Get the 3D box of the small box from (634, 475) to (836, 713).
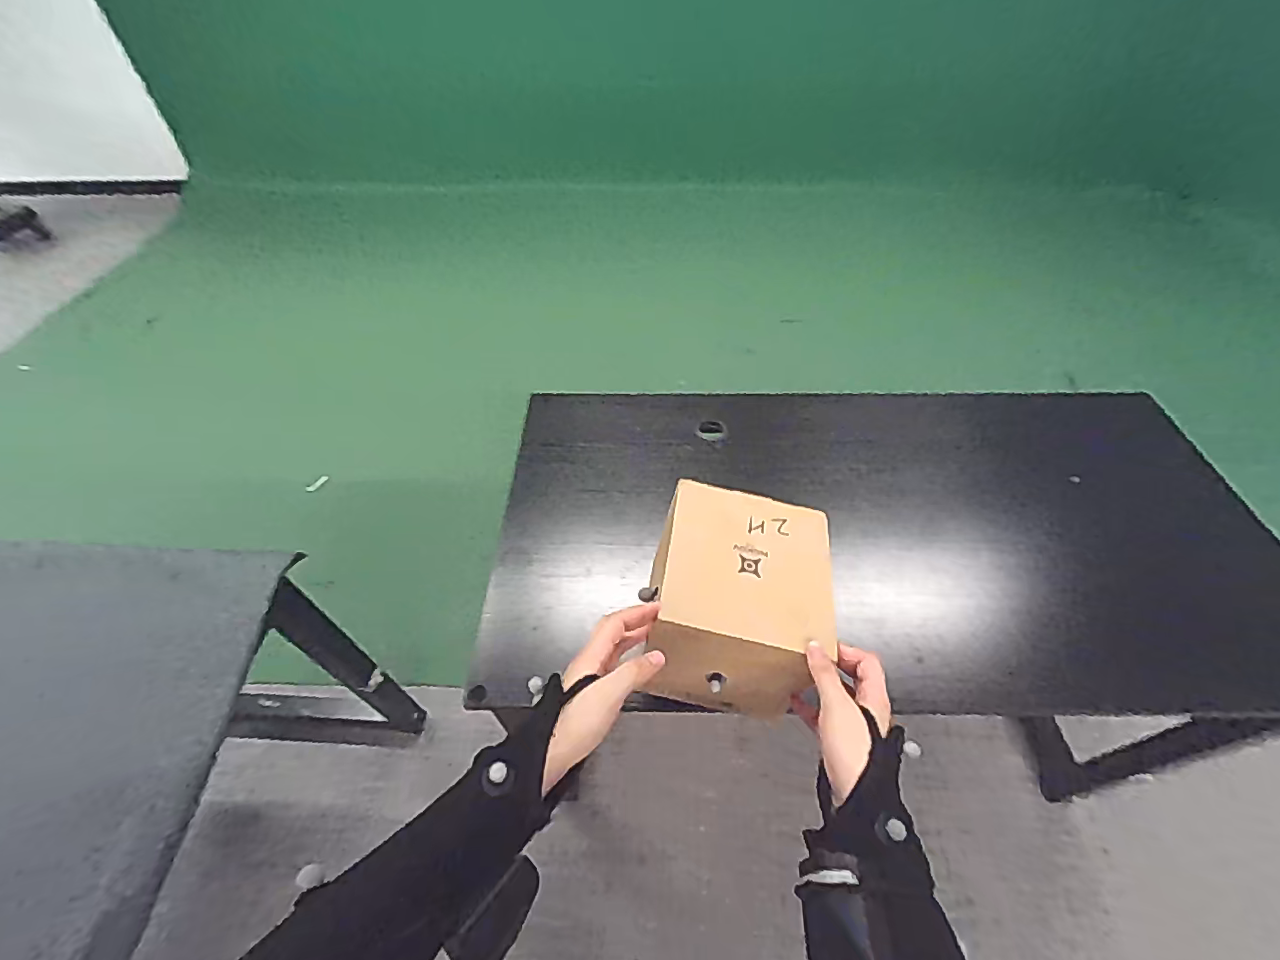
[{"bbox_3d":[0.093,0.127,0.580,0.168,0.176,0.179,13,48,0],"label":"small box"}]
